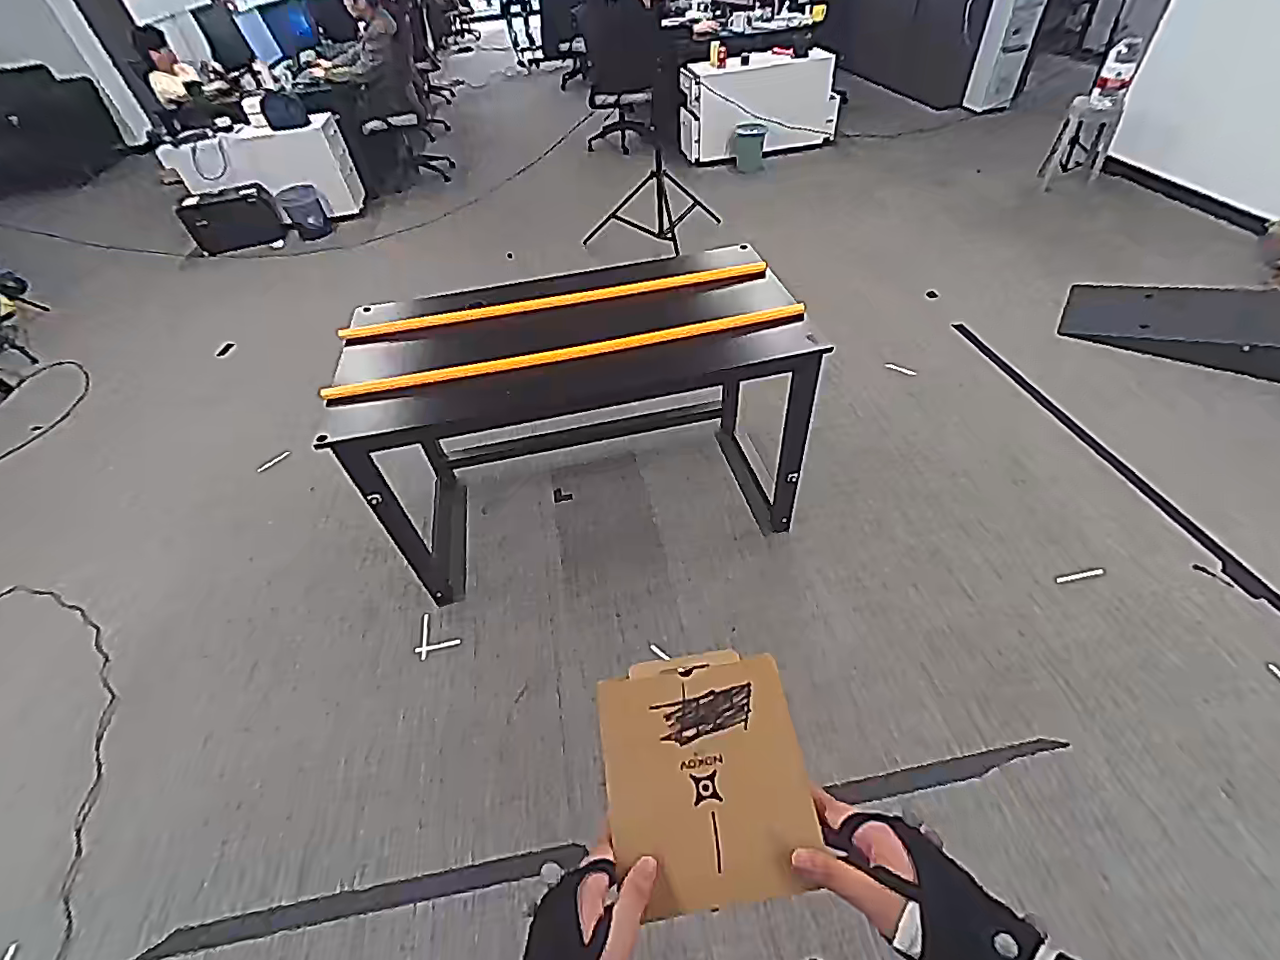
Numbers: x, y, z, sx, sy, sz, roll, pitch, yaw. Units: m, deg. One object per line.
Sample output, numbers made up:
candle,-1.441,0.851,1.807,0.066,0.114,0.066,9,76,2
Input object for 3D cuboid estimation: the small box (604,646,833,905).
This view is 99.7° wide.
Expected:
small box,0.061,0.279,0.524,0.168,0.176,0.179,-9,60,-2
